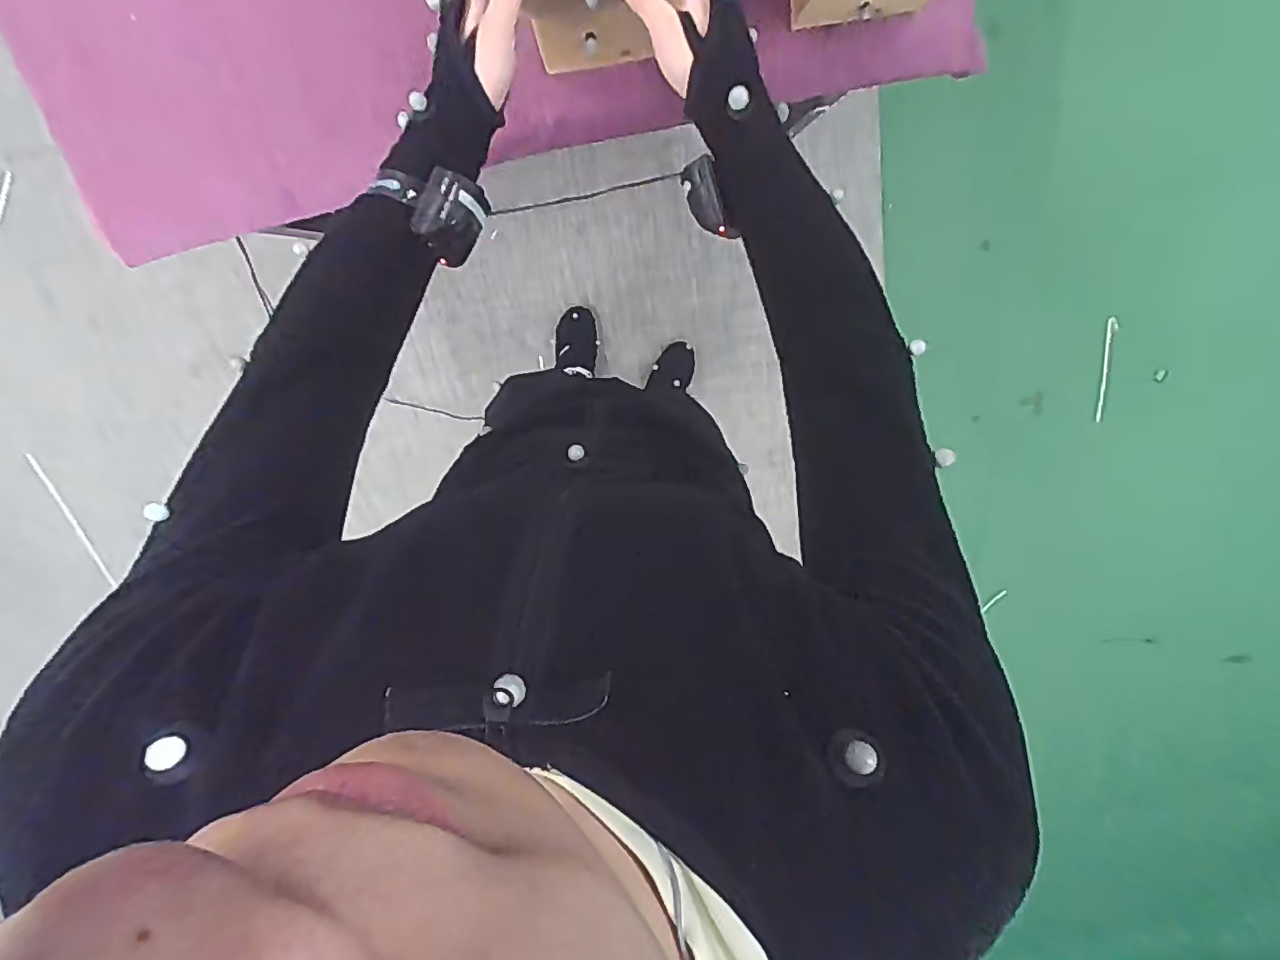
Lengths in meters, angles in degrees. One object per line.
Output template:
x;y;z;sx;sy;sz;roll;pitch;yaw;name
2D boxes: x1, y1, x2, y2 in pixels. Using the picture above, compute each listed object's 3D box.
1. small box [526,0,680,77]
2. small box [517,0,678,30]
-0.050;-0.588;0.610;0.168;0.176;0.179;-9;108;1;small box
-0.049;-0.520;0.444;0.168;0.176;0.179;-6;109;3;small box
